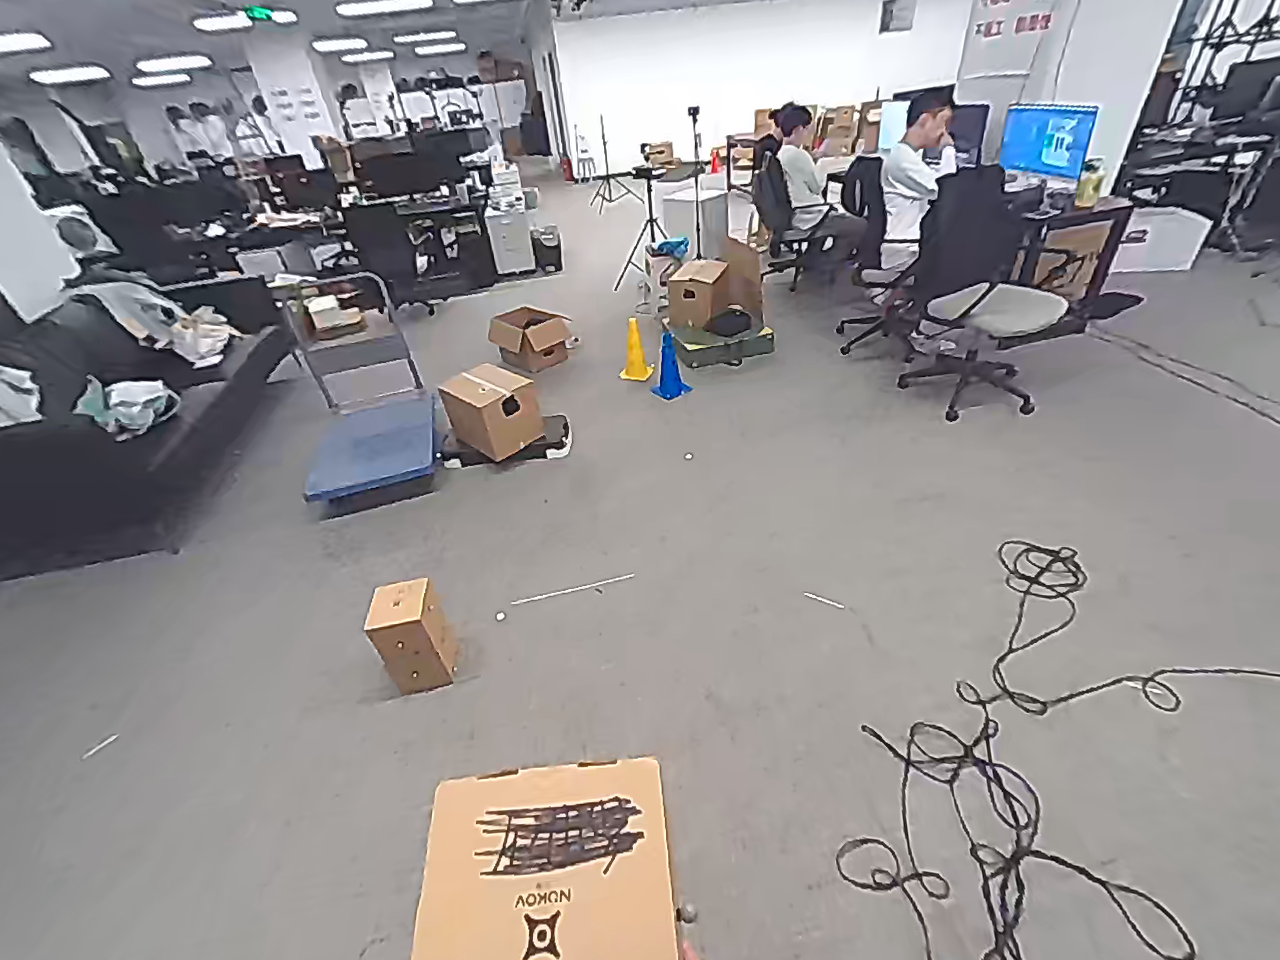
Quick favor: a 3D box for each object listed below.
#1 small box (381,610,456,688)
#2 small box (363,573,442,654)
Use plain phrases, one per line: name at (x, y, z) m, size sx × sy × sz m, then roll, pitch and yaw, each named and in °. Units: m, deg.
small box at (-0.722, 0.557, 1.785) m, size 0.179 × 0.176 × 0.168 m, roll -11°, pitch 37°, yaw -4°
small box at (-0.732, 0.424, 1.688) m, size 0.168 × 0.176 × 0.179 m, roll -10°, pitch 37°, yaw -5°
